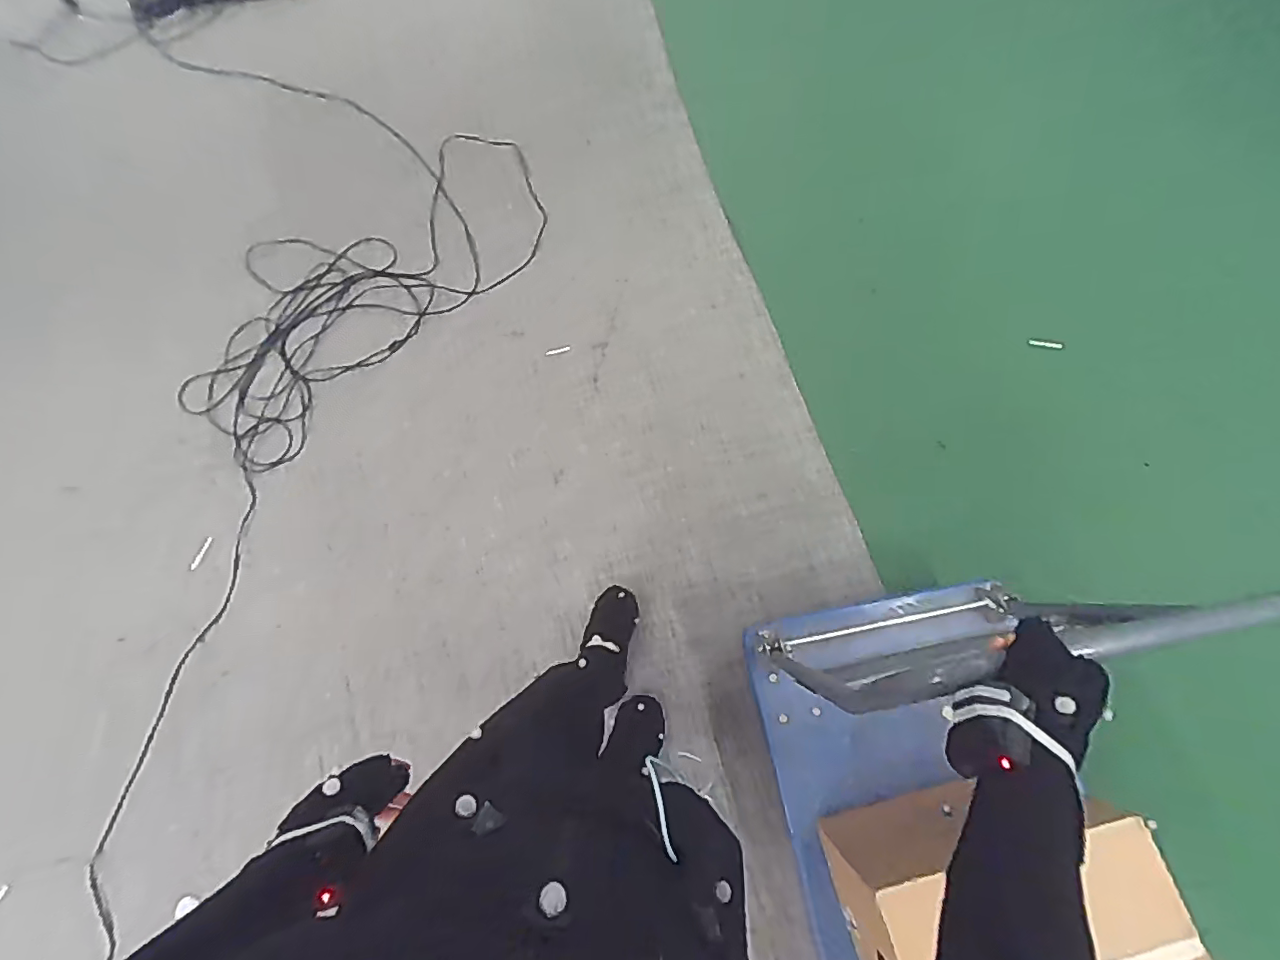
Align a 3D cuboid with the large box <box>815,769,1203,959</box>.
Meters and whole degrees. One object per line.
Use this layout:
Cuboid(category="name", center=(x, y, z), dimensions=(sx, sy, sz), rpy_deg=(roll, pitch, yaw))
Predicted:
Cuboid(category="large box", center=(0.558, 0.710, 0.865), dimensions=(0.408, 0.320, 0.320), rpy_deg=(-15, 74, -3))
